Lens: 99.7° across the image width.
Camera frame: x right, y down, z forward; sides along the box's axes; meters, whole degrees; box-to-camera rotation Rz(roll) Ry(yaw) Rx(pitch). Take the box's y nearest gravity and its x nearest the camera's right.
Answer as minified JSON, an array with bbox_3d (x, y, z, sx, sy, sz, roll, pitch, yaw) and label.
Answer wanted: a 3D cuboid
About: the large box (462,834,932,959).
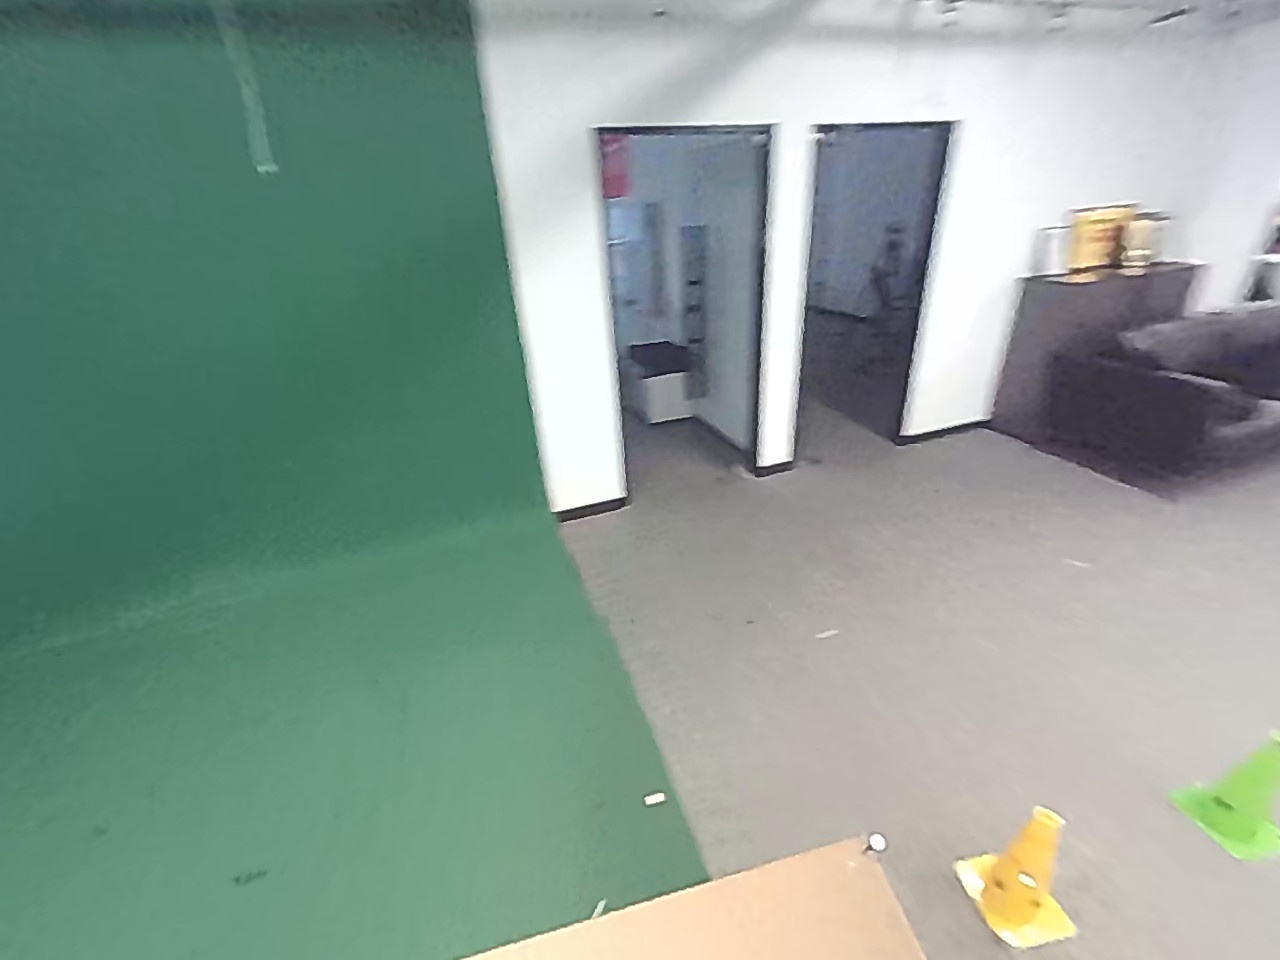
[{"bbox_3d":[0.061,0.579,0.464,0.408,0.320,0.320,-9,42,-10],"label":"large box"}]

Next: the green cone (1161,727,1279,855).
[{"bbox_3d":[1.691,0.827,1.514,0.202,0.368,0.200,-10,27,-10],"label":"green cone"}]
